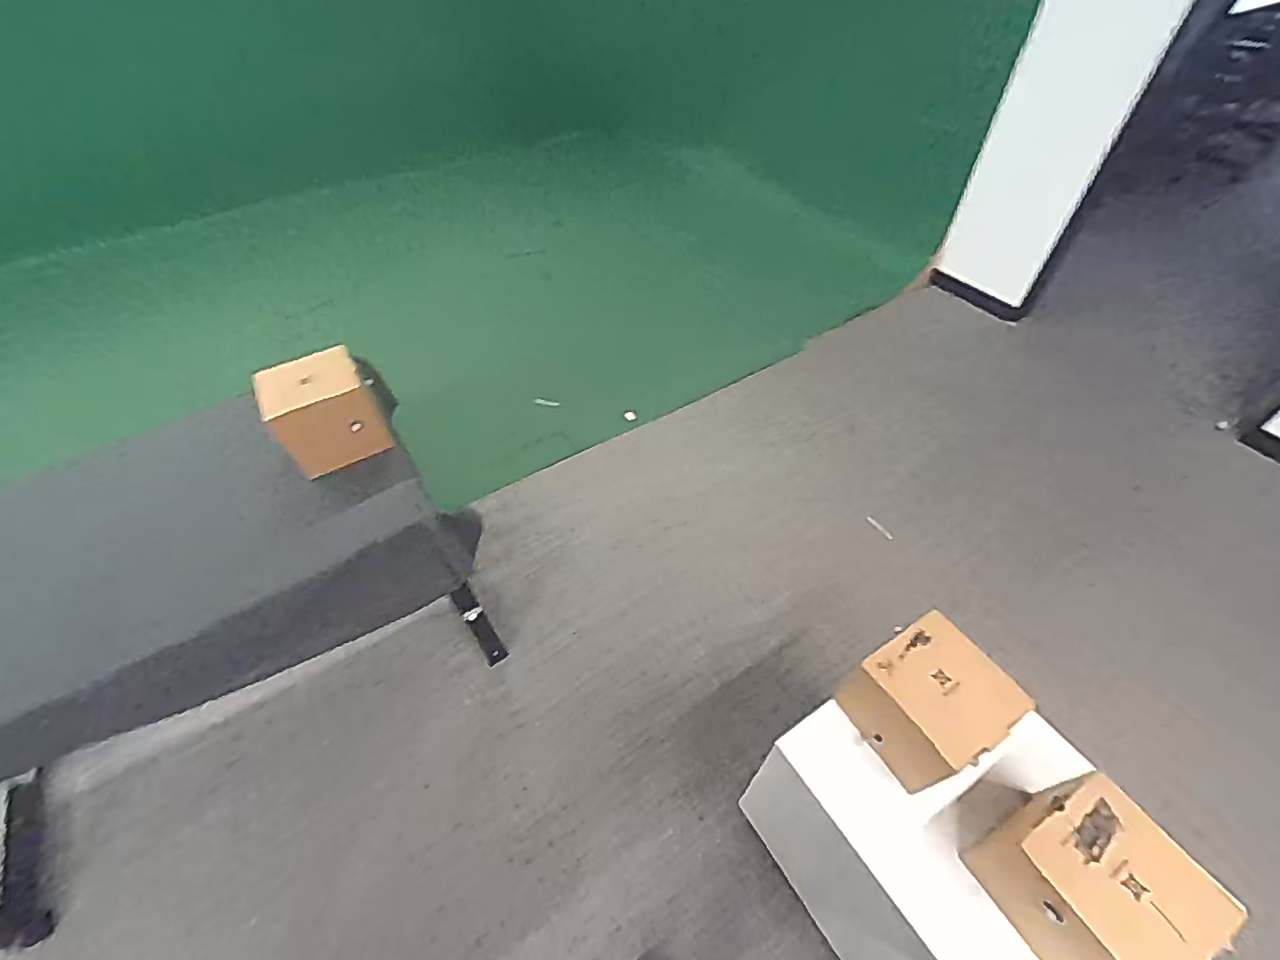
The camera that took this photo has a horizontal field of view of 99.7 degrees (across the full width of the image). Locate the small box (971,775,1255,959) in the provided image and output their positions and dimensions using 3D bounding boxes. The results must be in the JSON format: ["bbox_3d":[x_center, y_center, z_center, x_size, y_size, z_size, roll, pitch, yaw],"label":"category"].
[{"bbox_3d":[0.569,0.516,0.681,0.168,0.176,0.179,-25,54,-17],"label":"small box"}]

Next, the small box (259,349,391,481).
[{"bbox_3d":[-0.634,-0.132,1.108,0.179,0.176,0.168,-27,53,-17],"label":"small box"}]

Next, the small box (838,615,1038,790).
[{"bbox_3d":[0.440,0.347,0.829,0.168,0.176,0.179,-26,56,-18],"label":"small box"}]
